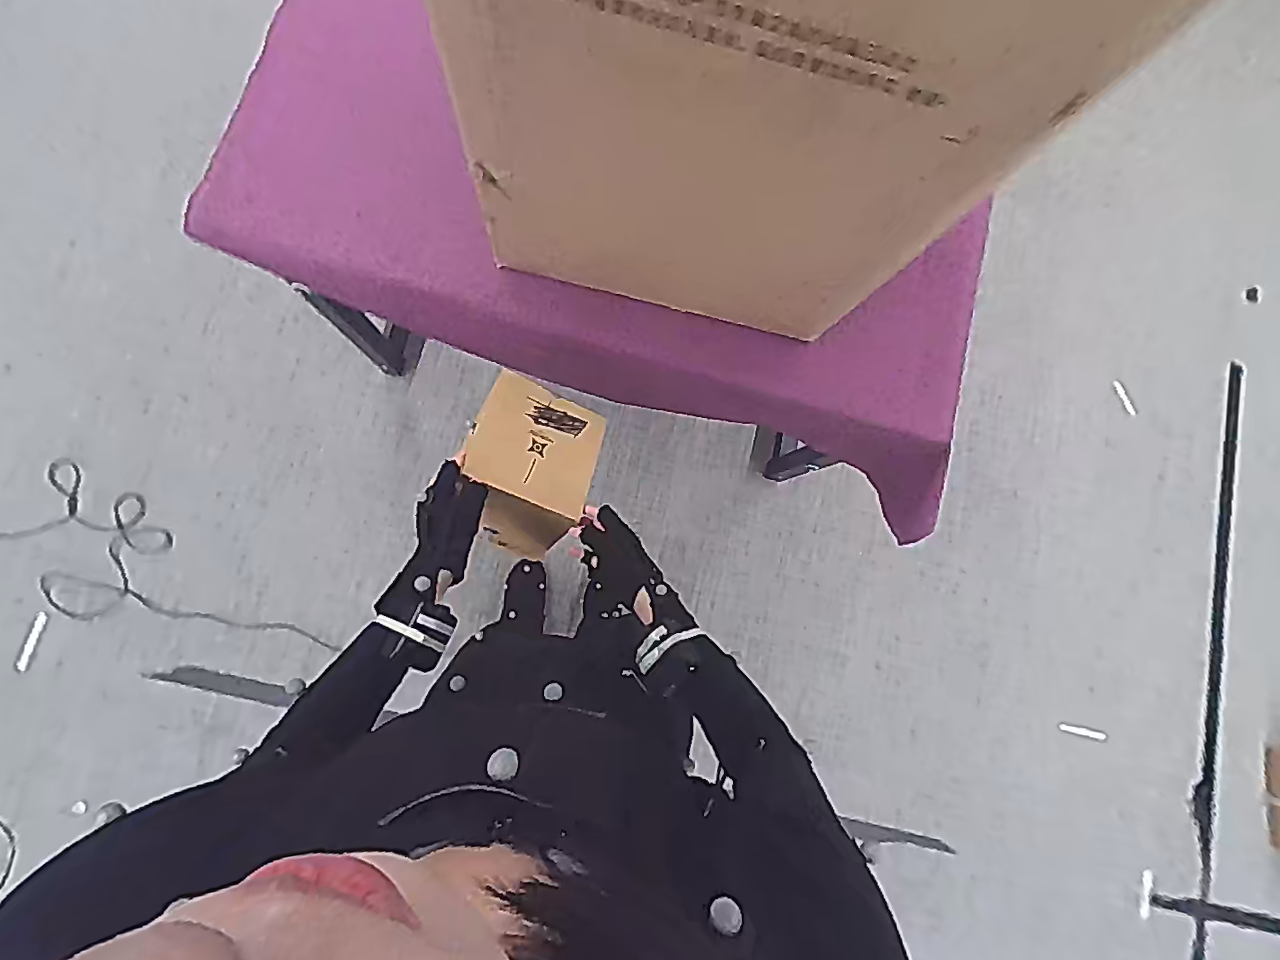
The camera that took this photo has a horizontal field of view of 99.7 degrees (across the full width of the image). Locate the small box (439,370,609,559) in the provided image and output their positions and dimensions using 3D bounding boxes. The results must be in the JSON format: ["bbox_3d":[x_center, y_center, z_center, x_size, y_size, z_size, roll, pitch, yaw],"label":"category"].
[{"bbox_3d":[-0.167,-0.014,0.767,0.168,0.176,0.179,25,54,-19],"label":"small box"}]
